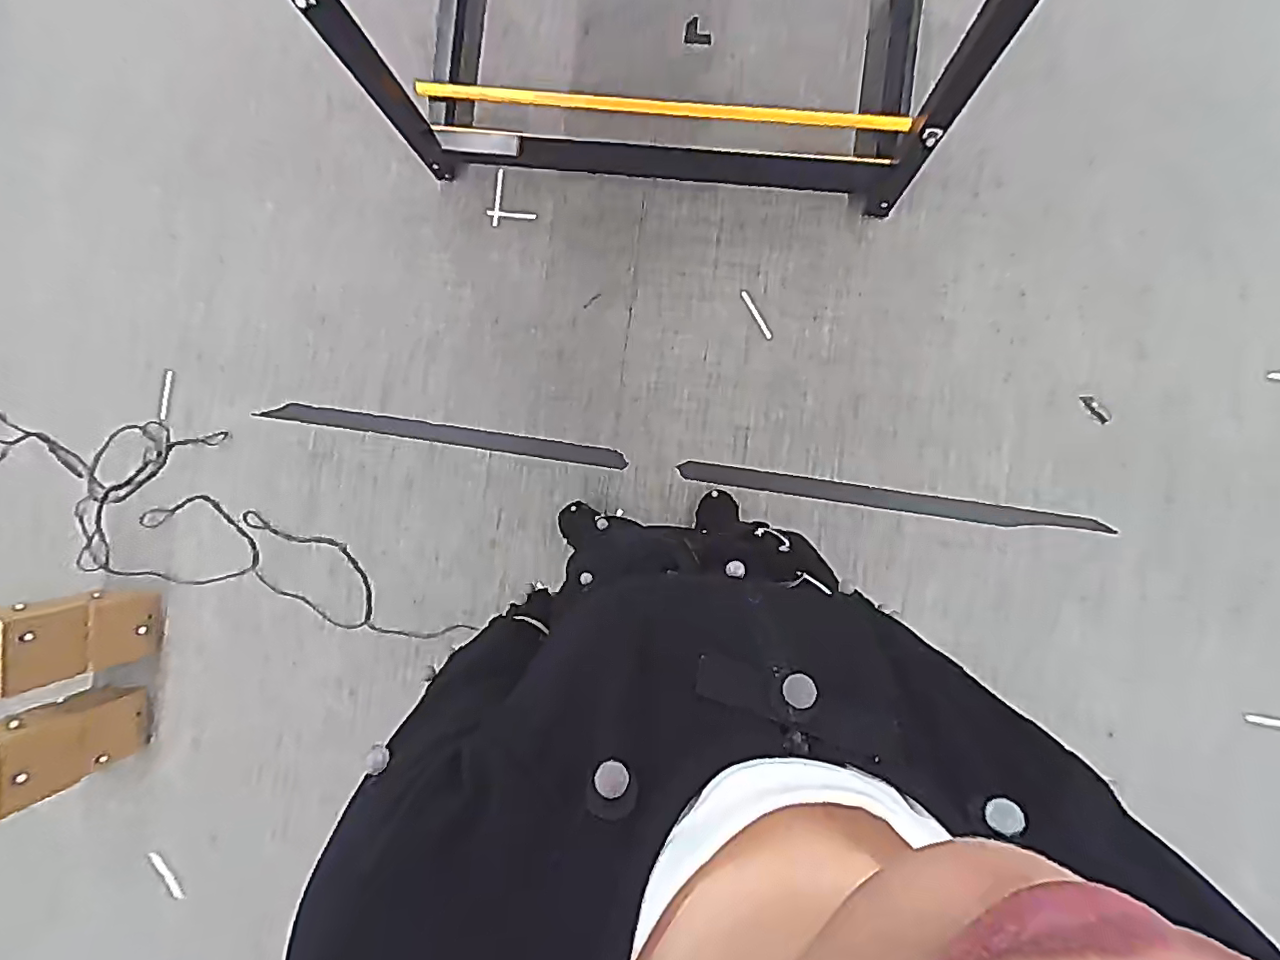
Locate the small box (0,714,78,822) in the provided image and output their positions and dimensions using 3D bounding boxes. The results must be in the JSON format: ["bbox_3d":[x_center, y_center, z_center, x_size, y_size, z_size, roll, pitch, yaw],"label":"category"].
[{"bbox_3d":[-1.466,0.661,1.253,0.168,0.176,0.179,0,90,5],"label":"small box"}]

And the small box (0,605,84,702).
[{"bbox_3d":[-1.451,0.393,1.252,0.168,0.176,0.179,1,90,5],"label":"small box"}]

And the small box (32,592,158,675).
[{"bbox_3d":[-1.426,0.394,1.415,0.179,0.176,0.168,3,90,4],"label":"small box"}]
